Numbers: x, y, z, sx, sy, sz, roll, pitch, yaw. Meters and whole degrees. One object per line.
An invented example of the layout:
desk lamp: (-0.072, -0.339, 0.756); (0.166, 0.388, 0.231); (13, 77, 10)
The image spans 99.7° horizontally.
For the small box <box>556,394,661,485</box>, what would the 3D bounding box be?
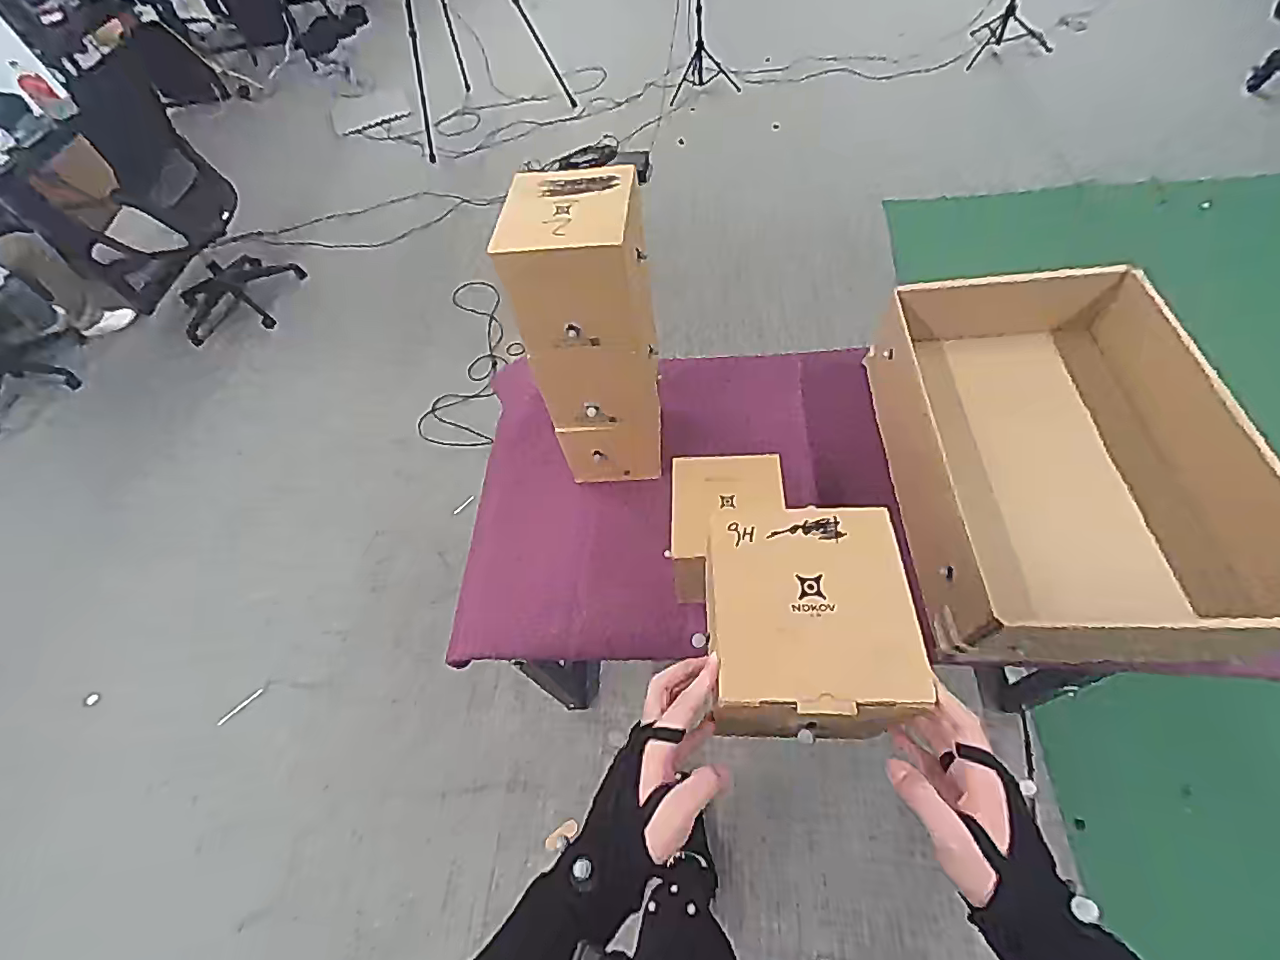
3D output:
small box: (-0.049, -0.100, 1.012); (0.168, 0.176, 0.179); (-3, 55, 7)

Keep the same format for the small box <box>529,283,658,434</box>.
small box: (-0.063, -0.194, 0.878); (0.168, 0.176, 0.179); (0, 57, 9)

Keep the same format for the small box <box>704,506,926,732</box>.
small box: (0.148, 0.141, 0.527); (0.168, 0.176, 0.179); (-1, 57, 5)

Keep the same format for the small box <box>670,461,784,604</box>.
small box: (0.138, 0.090, 0.853); (0.168, 0.176, 0.179); (-1, 54, 7)
